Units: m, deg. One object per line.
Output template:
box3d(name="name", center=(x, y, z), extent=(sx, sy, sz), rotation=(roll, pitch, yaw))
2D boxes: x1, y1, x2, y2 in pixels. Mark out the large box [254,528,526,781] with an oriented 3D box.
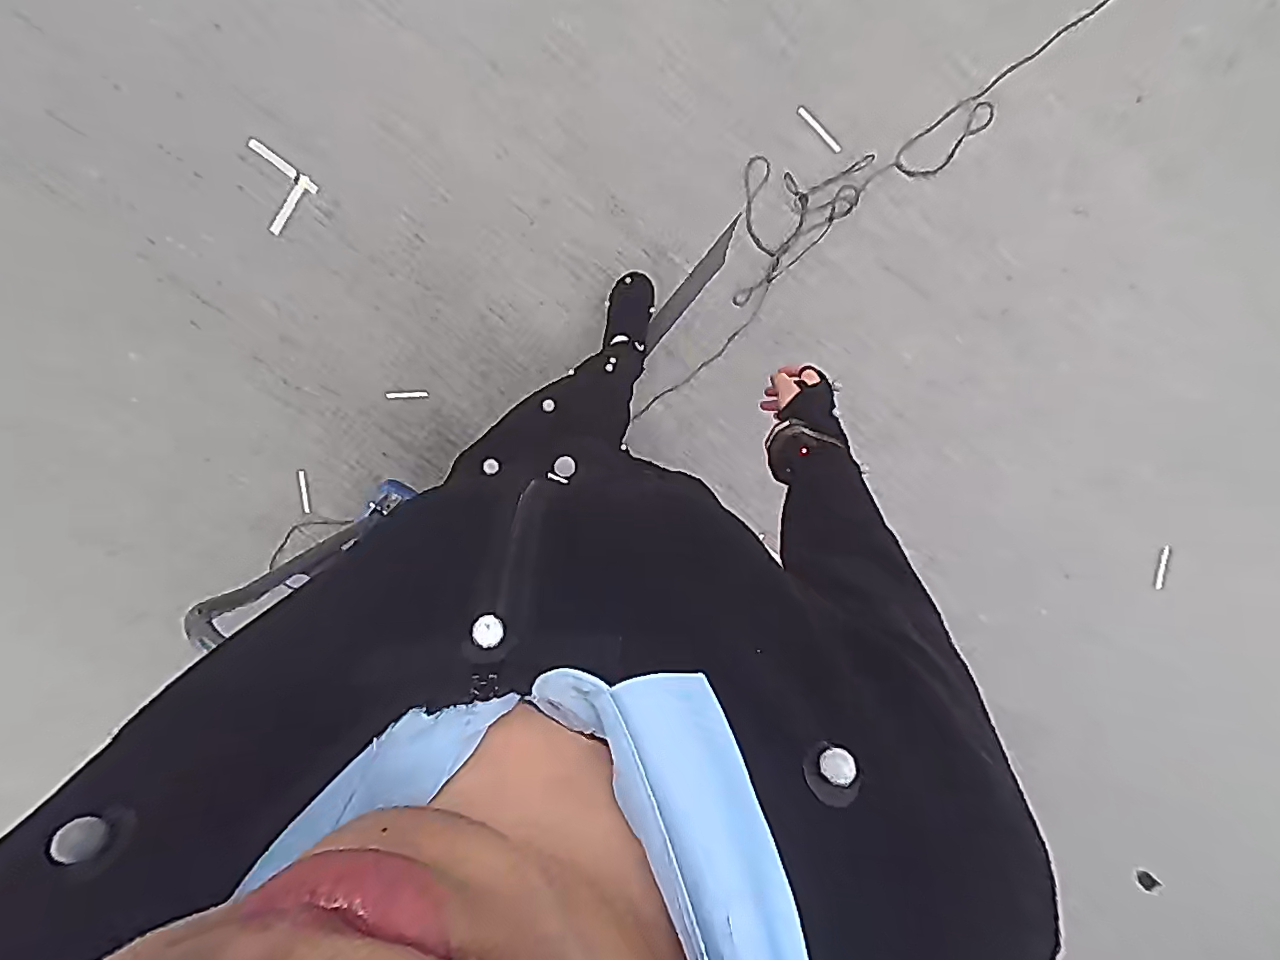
box3d(name="large box", center=(-0.528, 0.374, 1.227), extent=(0.408, 0.320, 0.320), rotation=(35, 98, -9))
